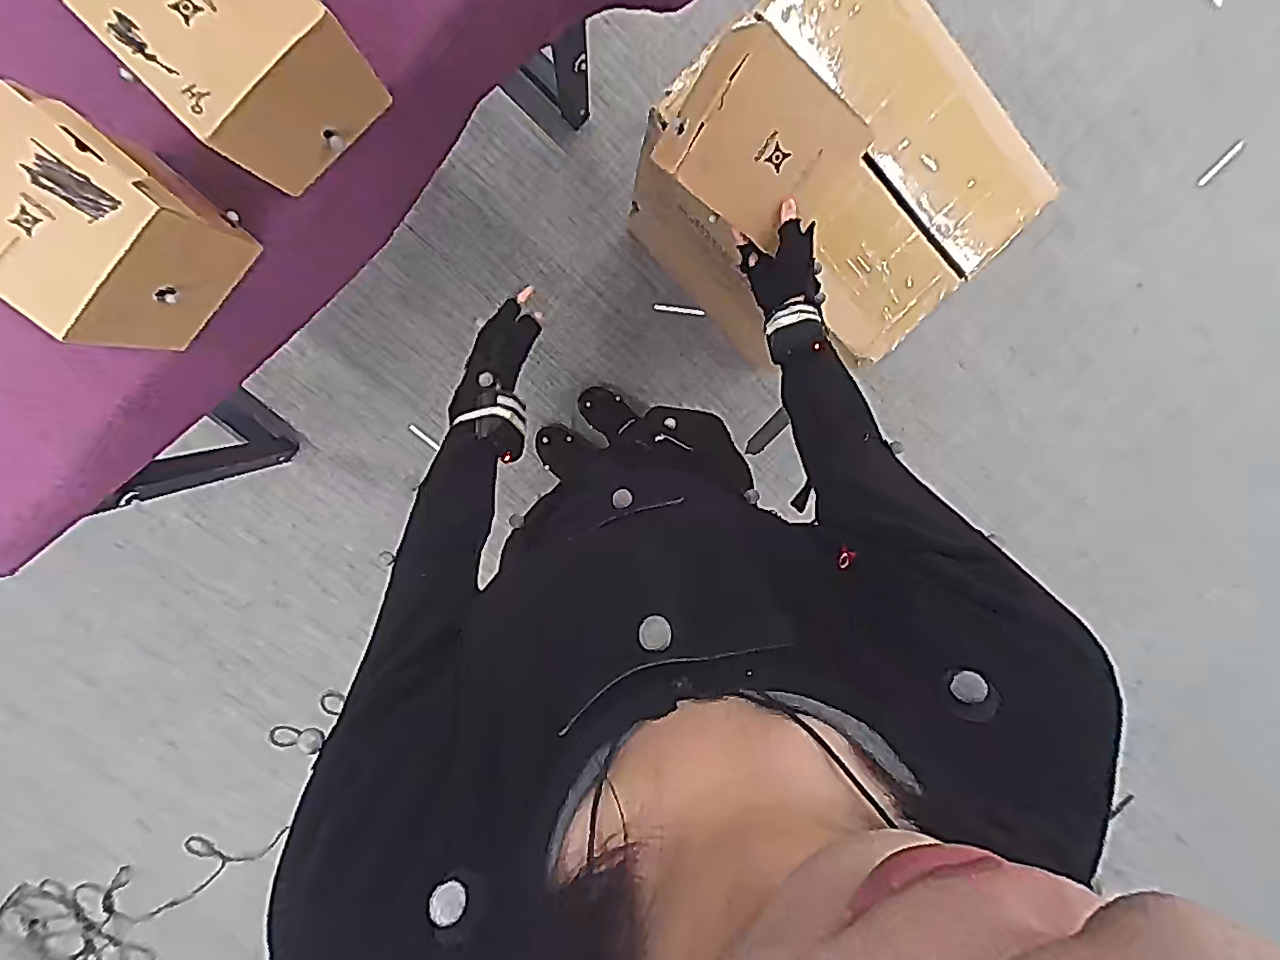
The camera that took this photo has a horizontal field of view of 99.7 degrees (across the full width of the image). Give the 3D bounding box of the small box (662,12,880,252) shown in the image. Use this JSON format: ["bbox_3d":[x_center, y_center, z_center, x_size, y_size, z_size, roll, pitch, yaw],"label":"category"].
[{"bbox_3d":[0.146,-0.419,0.669,0.179,0.176,0.168,26,119,-24],"label":"small box"}]

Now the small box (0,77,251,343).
[{"bbox_3d":[-0.582,-0.272,0.595,0.168,0.176,0.179,42,96,-9],"label":"small box"}]

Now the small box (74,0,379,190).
[{"bbox_3d":[-0.413,-0.457,0.577,0.179,0.176,0.168,-43,100,3],"label":"small box"}]
